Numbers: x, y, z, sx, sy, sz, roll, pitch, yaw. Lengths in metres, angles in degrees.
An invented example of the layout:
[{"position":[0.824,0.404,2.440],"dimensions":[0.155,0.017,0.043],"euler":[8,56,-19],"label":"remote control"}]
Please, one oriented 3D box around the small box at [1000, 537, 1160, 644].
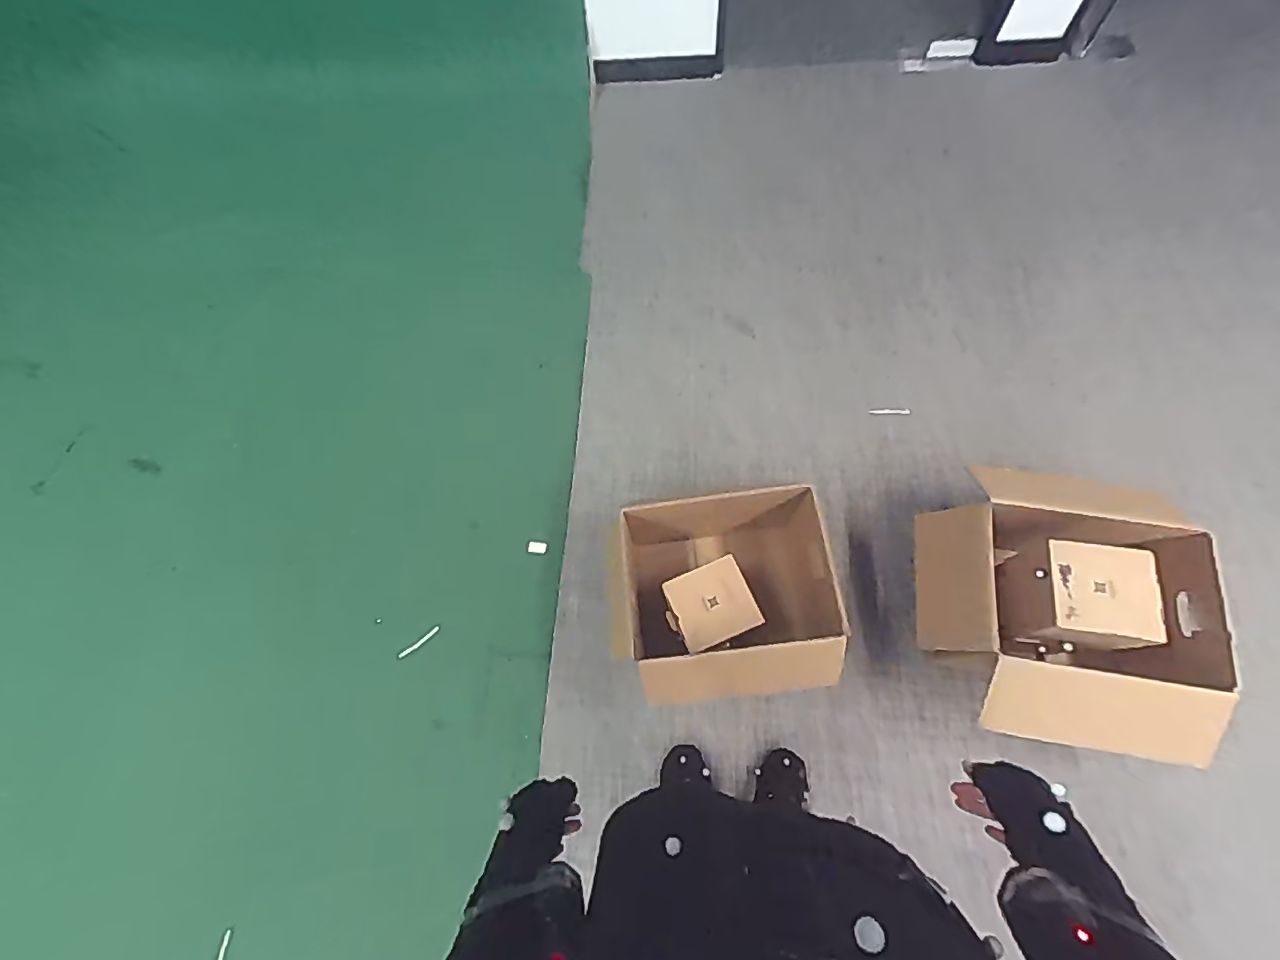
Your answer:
[{"position":[0.848,0.223,1.061],"dimensions":[0.179,0.176,0.168],"euler":[6,68,8],"label":"small box"}]
